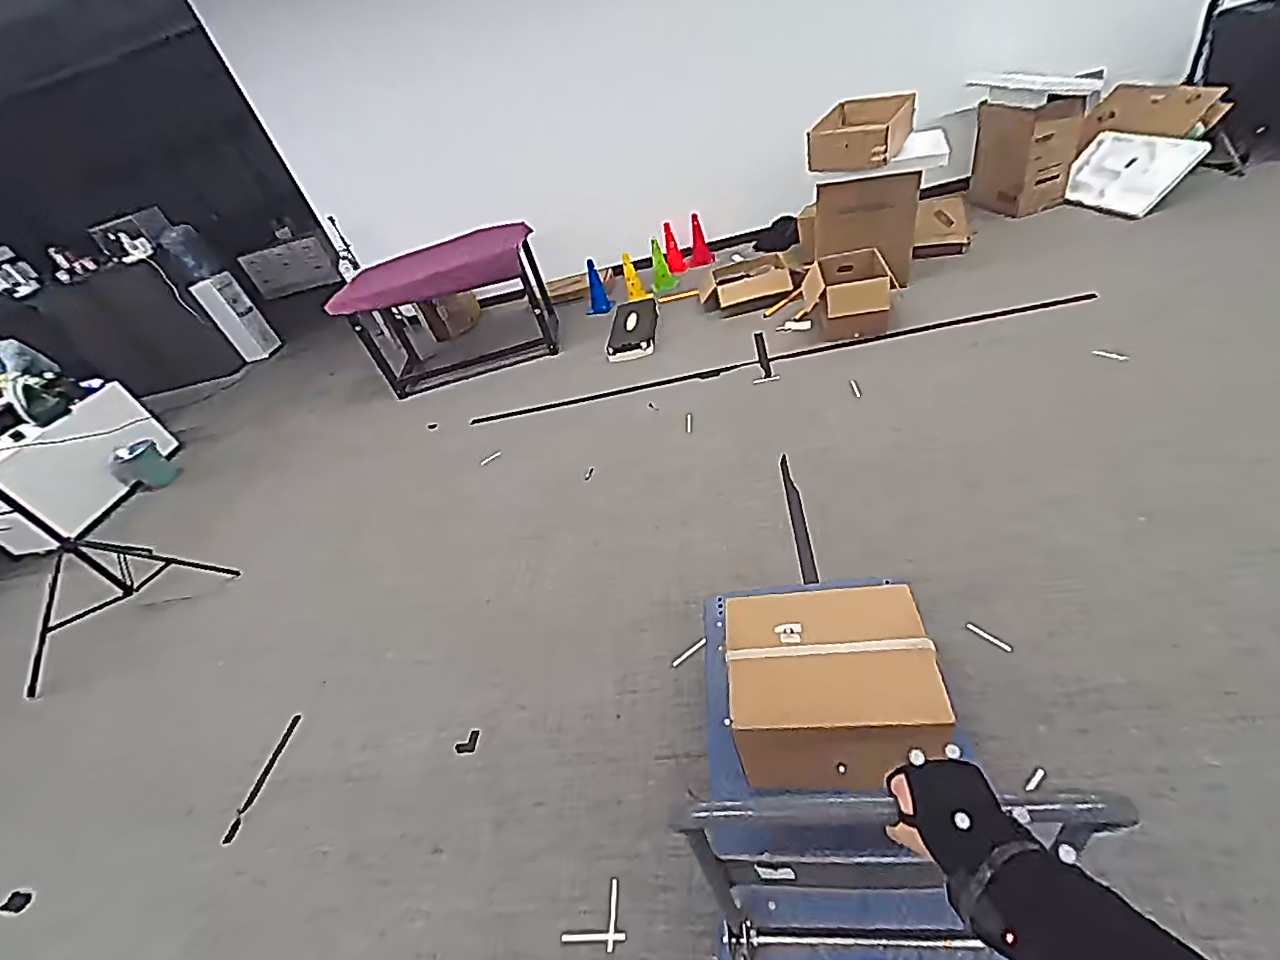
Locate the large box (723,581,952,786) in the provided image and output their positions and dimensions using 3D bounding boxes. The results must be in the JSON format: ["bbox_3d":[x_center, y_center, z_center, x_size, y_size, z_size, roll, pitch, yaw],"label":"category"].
[{"bbox_3d":[0.414,0.460,1.202,0.408,0.320,0.320,-9,39,14],"label":"large box"}]
